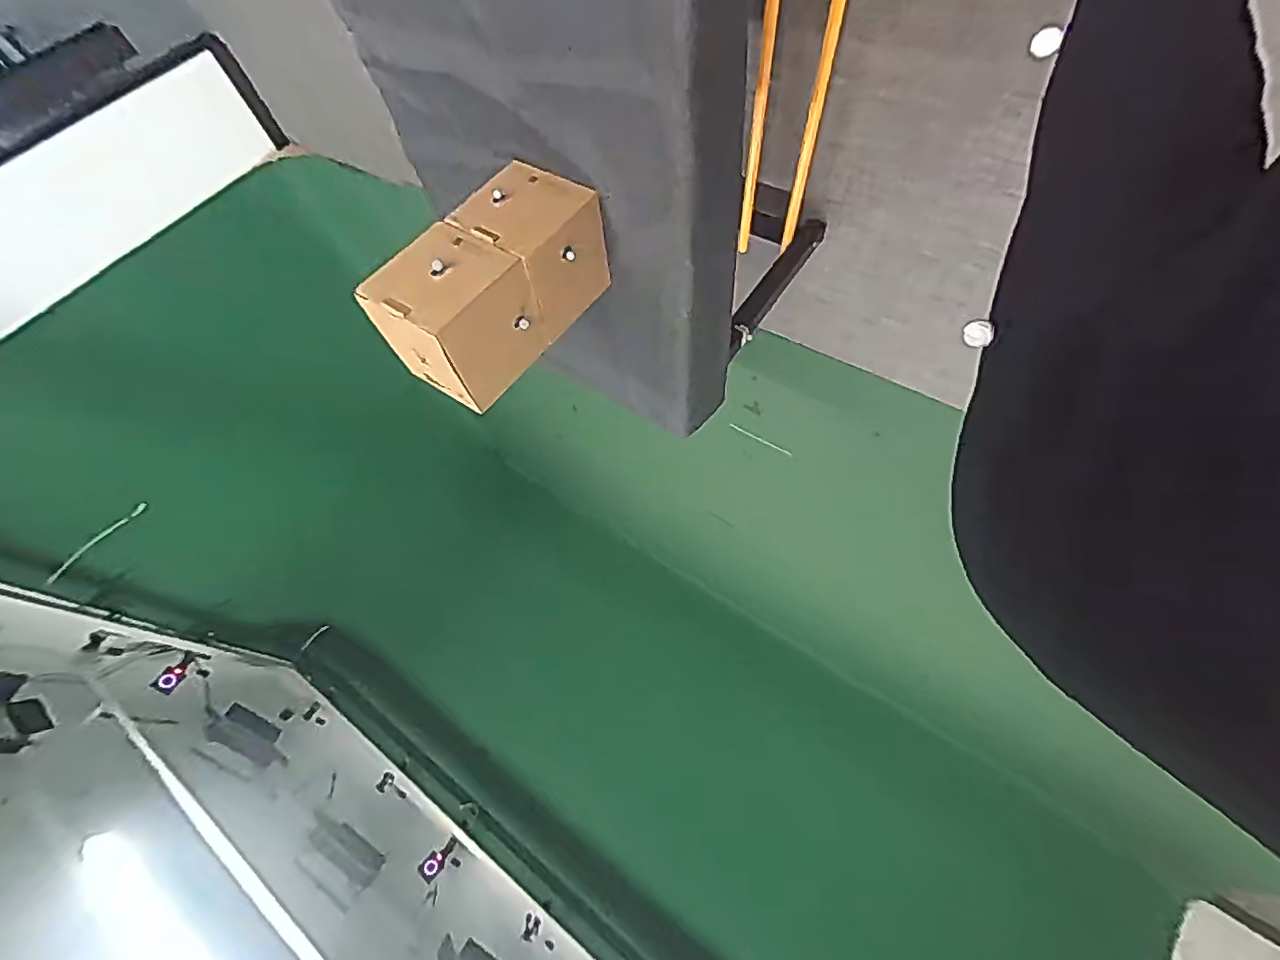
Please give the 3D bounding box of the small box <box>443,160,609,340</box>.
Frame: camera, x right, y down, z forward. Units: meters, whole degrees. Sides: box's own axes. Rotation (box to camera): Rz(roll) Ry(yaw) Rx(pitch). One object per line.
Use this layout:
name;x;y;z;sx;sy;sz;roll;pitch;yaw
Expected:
small box;-0.168;-0.365;0.856;0.168;0.176;0.179;31;159;19

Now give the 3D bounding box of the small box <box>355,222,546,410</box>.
small box;-0.267;-0.245;0.803;0.168;0.176;0.179;30;158;20
